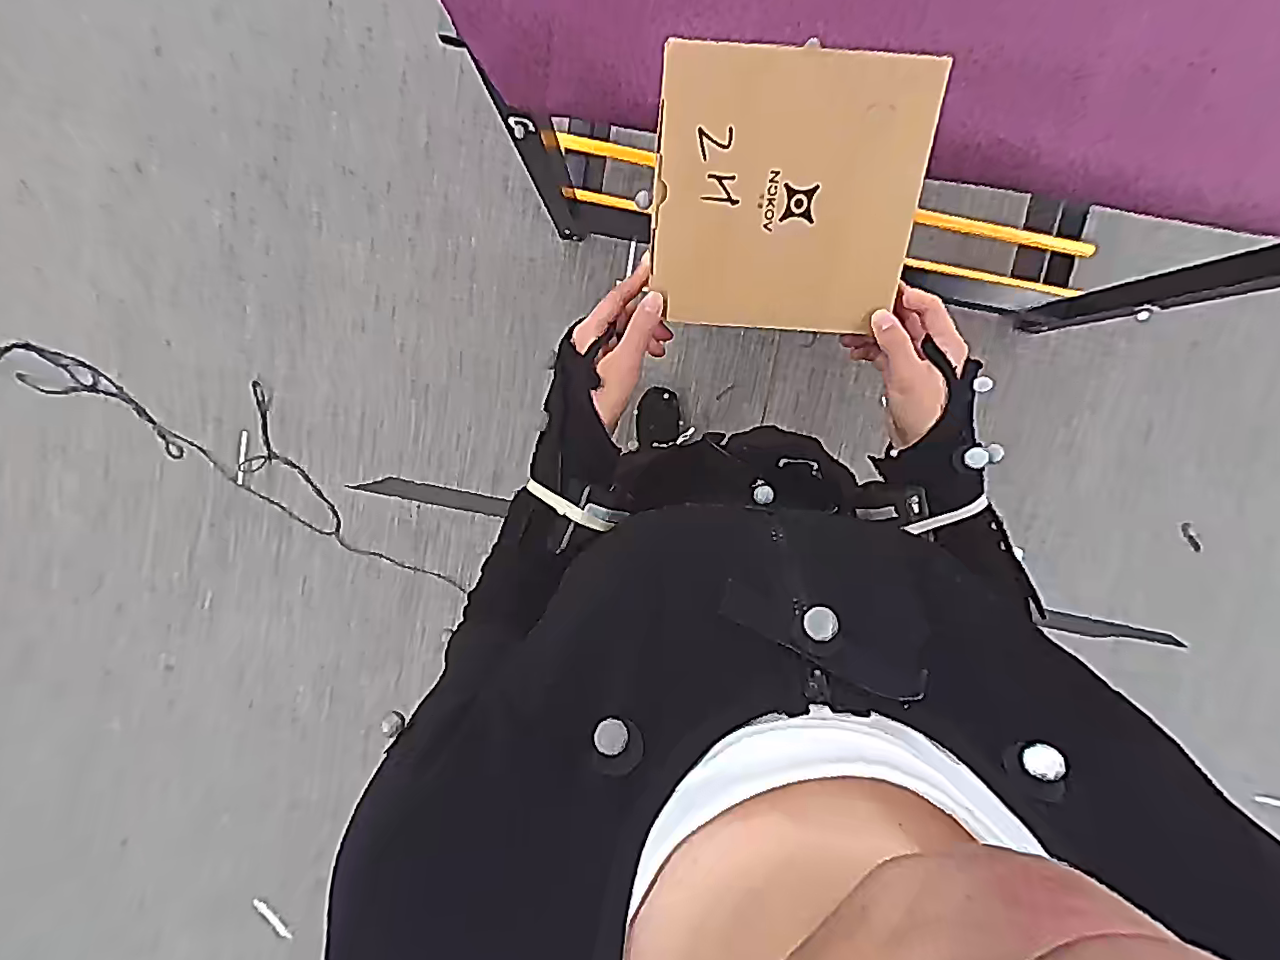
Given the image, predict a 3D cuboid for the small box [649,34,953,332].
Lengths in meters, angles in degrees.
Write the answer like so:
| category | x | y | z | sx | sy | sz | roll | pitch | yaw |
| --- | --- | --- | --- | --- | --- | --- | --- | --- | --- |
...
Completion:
| category | x | y | z | sx | sy | sz | roll | pitch | yaw |
| --- | --- | --- | --- | --- | --- | --- | --- | --- | --- |
| small box | 0.101 | -0.221 | 0.431 | 0.179 | 0.176 | 0.168 | 4 | 114 | 0 |
